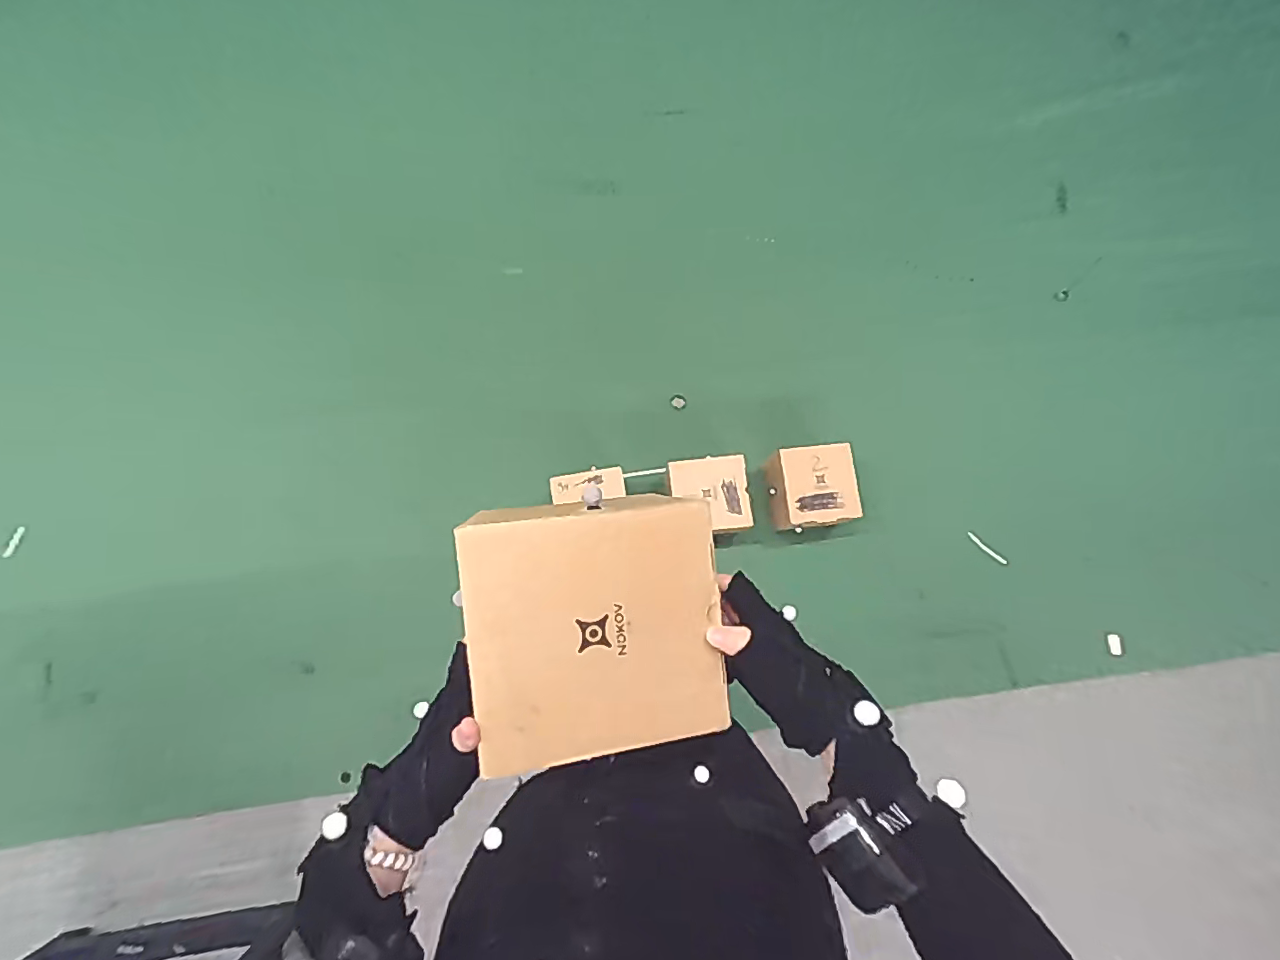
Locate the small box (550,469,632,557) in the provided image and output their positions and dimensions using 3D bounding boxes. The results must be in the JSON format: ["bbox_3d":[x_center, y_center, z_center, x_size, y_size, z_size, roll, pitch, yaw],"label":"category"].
[{"bbox_3d":[-0.109,0.081,1.269,0.168,0.176,0.179,-9,82,-2],"label":"small box"}]
